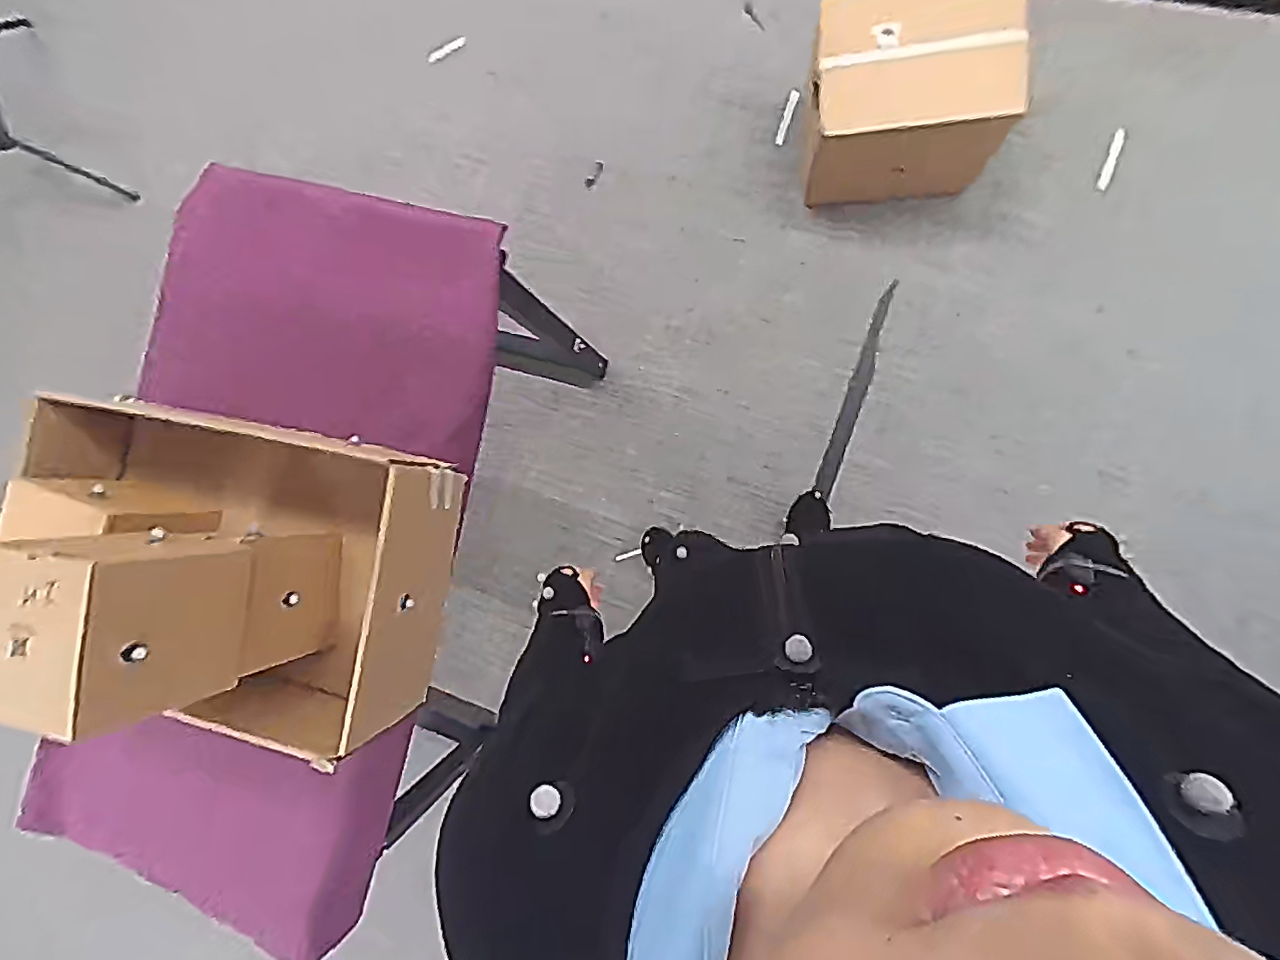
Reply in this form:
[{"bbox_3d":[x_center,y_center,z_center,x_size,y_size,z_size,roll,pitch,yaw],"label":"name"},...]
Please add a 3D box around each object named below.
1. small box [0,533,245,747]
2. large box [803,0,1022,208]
[{"bbox_3d":[-0.584,0.160,0.602,0.168,0.176,0.179,6,89,13],"label":"small box"},{"bbox_3d":[0.611,-0.892,1.286,0.408,0.320,0.320,-1,88,12],"label":"large box"}]
